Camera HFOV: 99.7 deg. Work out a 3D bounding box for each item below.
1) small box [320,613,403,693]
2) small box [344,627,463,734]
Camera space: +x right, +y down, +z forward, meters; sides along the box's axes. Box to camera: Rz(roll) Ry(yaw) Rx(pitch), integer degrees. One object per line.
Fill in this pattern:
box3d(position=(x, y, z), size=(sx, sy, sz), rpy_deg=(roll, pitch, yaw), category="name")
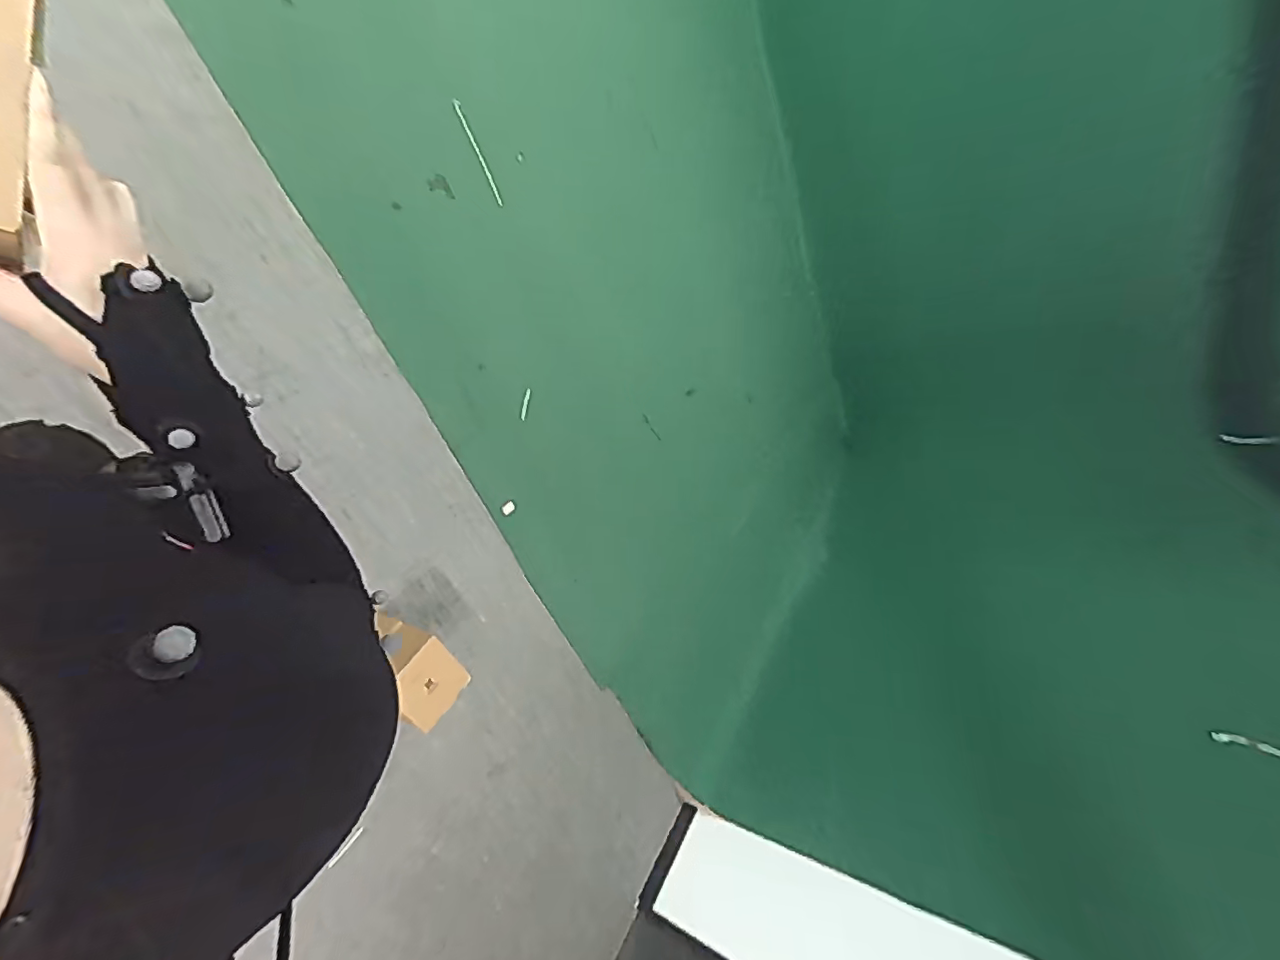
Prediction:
box3d(position=(-0.704, 0.476, 1.442), size=(0.168, 0.176, 0.179), rpy_deg=(-52, 128, -36), category="small box")
box3d(position=(-0.583, 0.486, 1.338), size=(0.168, 0.176, 0.179), rpy_deg=(-52, 130, -39), category="small box")
